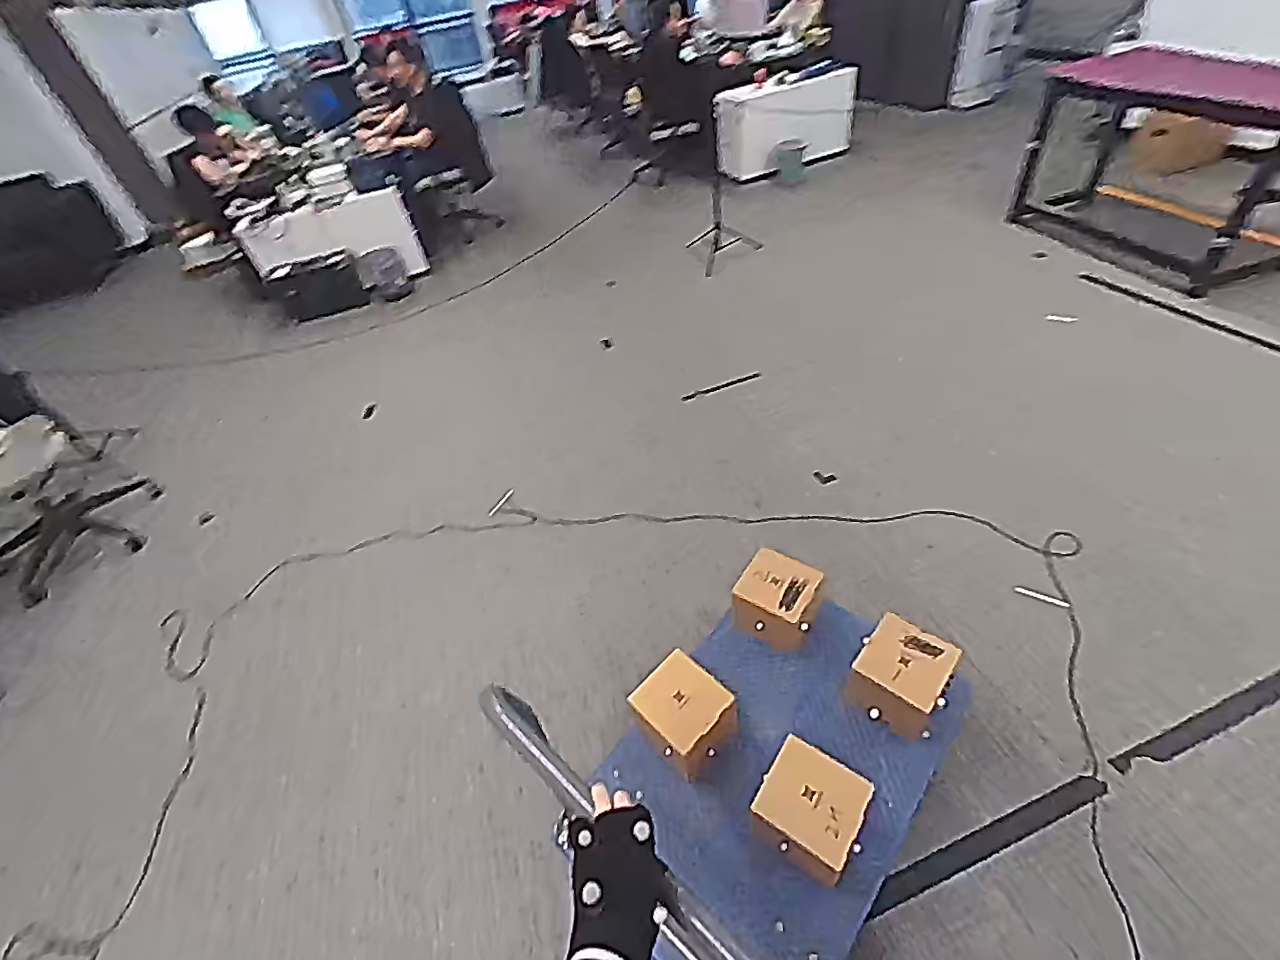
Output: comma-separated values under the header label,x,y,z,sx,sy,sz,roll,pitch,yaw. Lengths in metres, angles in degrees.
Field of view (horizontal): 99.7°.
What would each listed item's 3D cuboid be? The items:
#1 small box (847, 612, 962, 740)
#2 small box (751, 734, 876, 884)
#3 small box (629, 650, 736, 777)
label,x,y,z,sx,sy,sz,roll,pitch,yaw
small box,0.585,0.440,1.216,0.168,0.176,0.179,28,57,34
small box,0.333,0.646,1.057,0.179,0.176,0.168,23,54,31
small box,0.100,0.531,1.225,0.168,0.176,0.179,-38,51,-26
